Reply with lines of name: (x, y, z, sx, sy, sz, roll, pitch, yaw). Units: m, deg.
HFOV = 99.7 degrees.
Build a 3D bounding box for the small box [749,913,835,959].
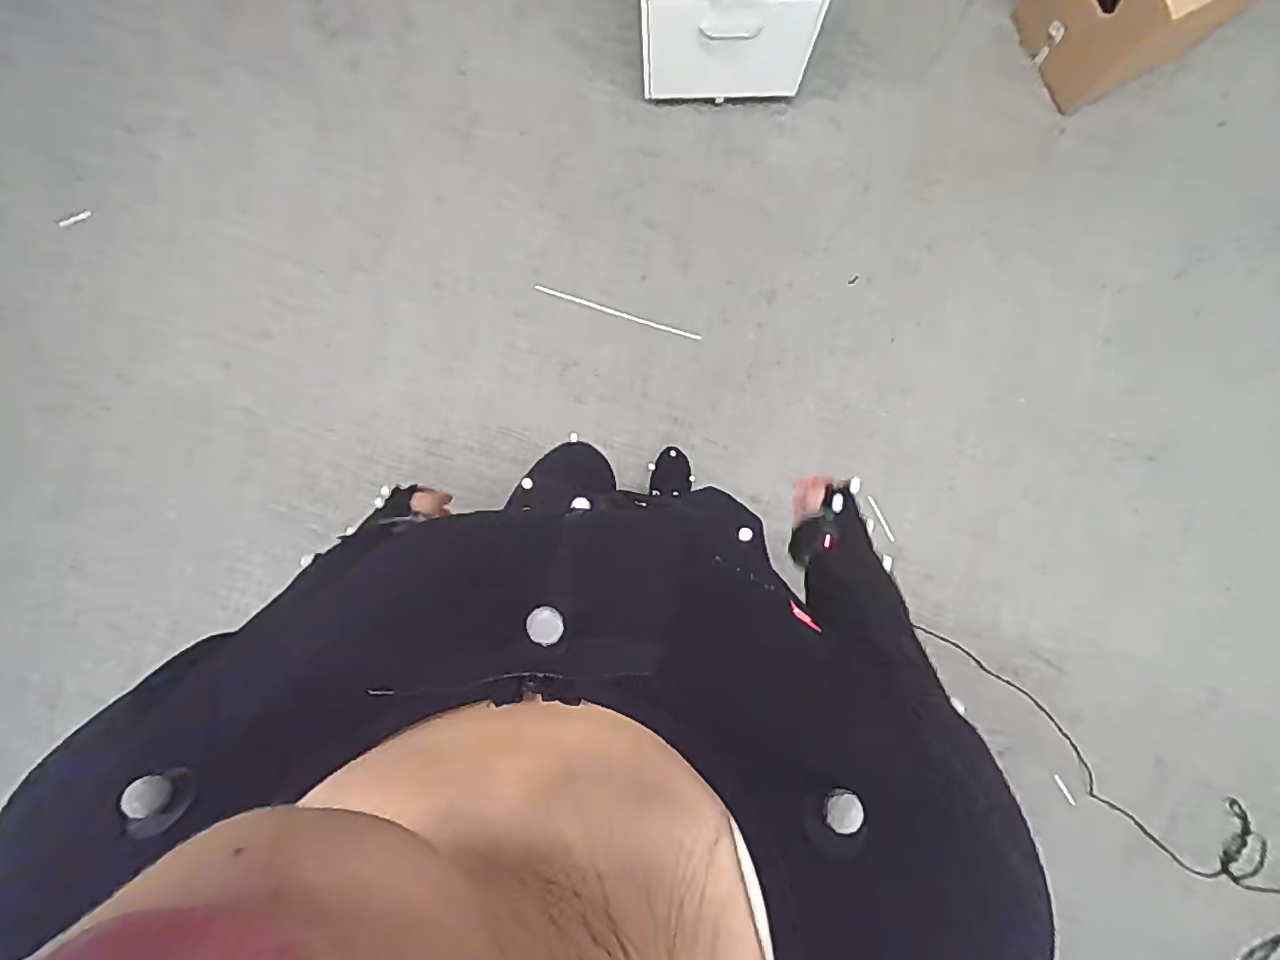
small box: (0.404, 1.299, 1.424, 0.179, 0.176, 0.168, 22, 91, 1)
